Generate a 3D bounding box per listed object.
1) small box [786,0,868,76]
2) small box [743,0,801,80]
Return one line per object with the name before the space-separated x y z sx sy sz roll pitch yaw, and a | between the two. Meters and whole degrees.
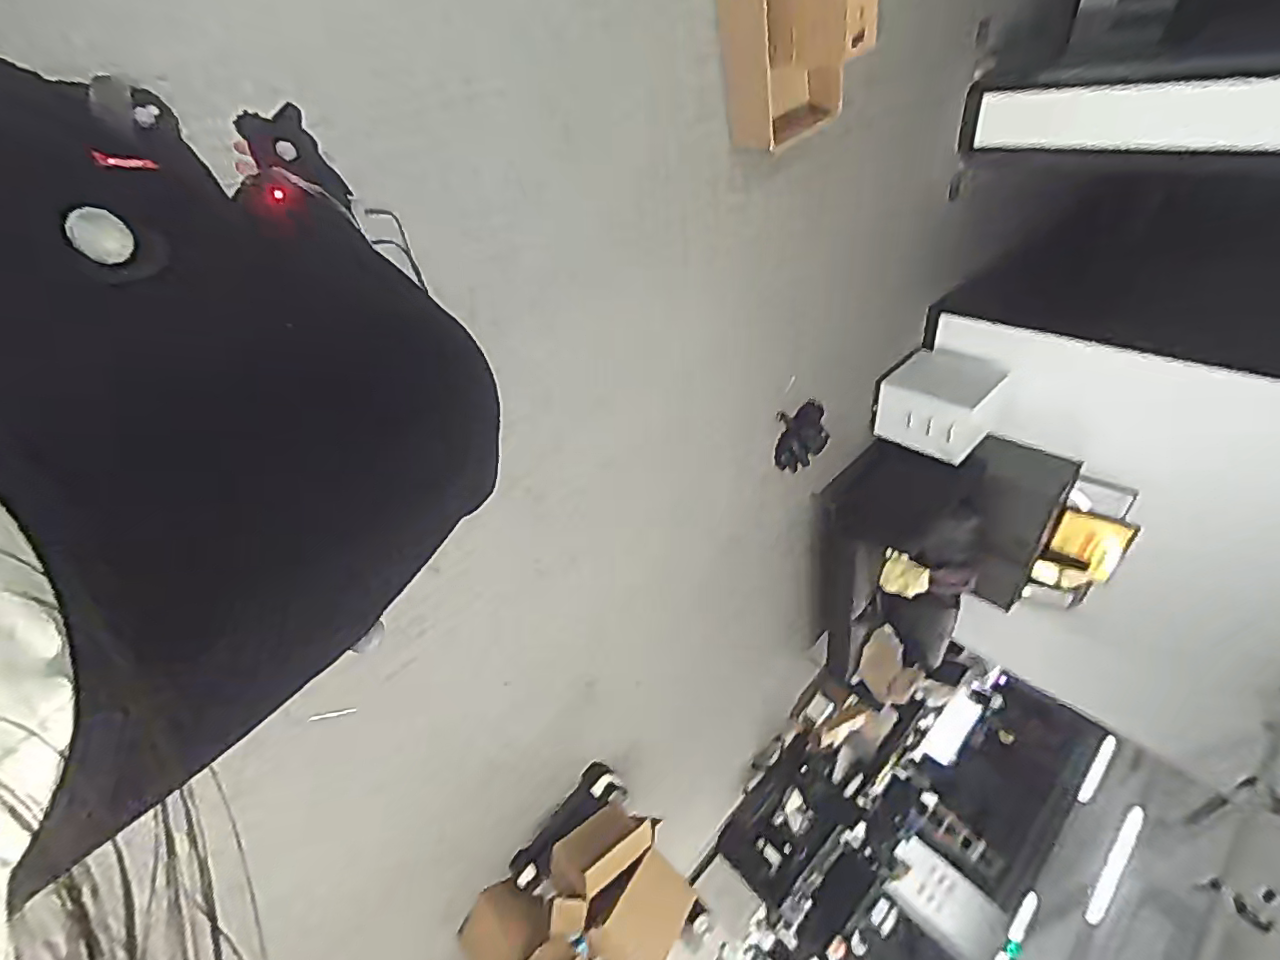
small box | 0.547 -1.316 1.594 0.168 0.176 0.179 -40 136 -23
small box | 0.437 -1.380 1.697 0.179 0.176 0.168 -40 137 -25
